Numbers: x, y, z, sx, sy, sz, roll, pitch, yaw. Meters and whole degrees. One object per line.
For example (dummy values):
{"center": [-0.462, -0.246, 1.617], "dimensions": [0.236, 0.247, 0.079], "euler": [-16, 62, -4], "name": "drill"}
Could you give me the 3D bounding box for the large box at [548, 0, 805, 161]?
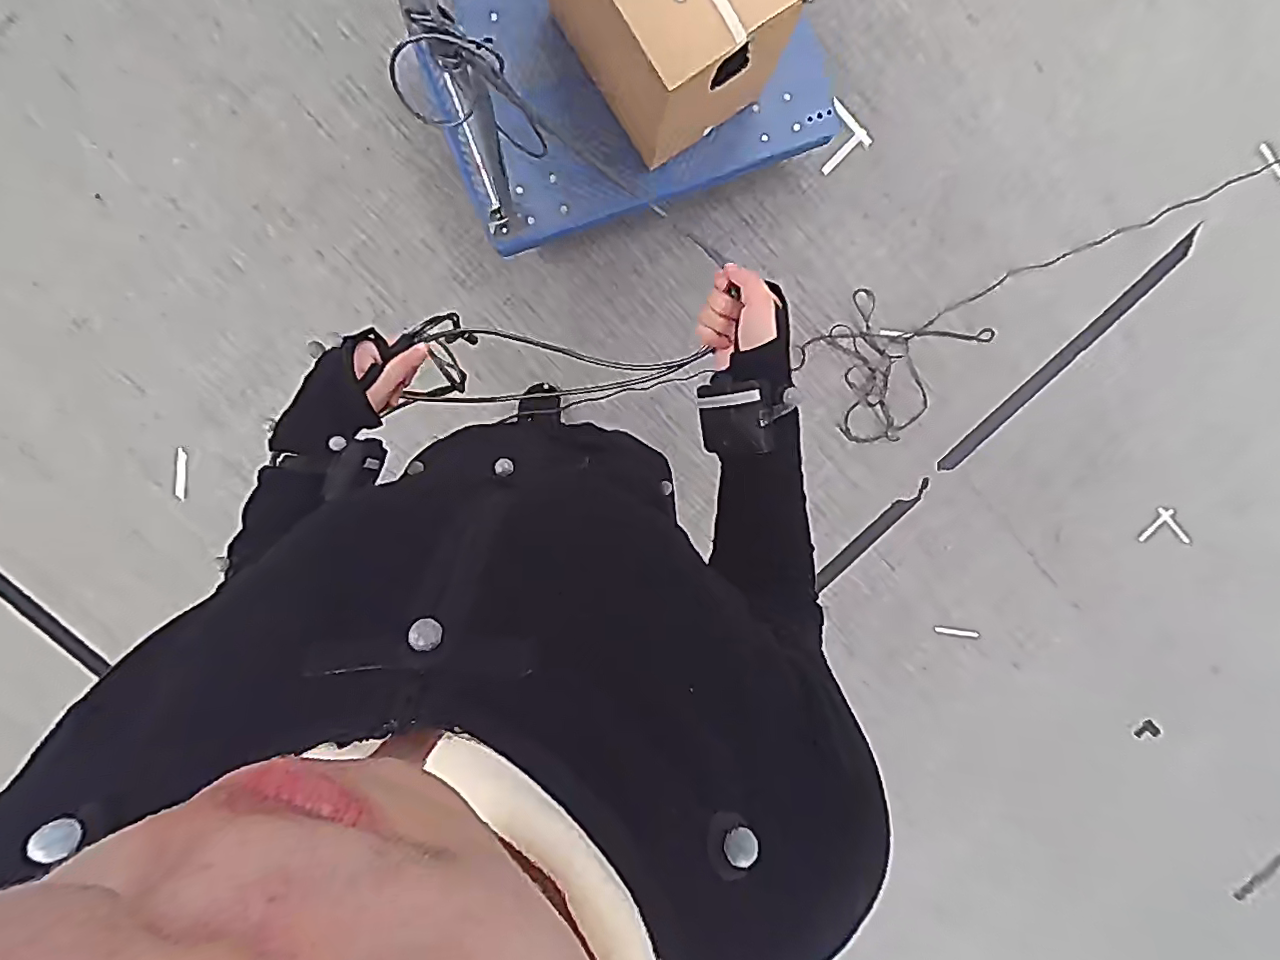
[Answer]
{"center": [0.049, -0.949, 1.057], "dimensions": [0.320, 0.320, 0.408], "euler": [-35, 100, 1], "name": "large box"}
